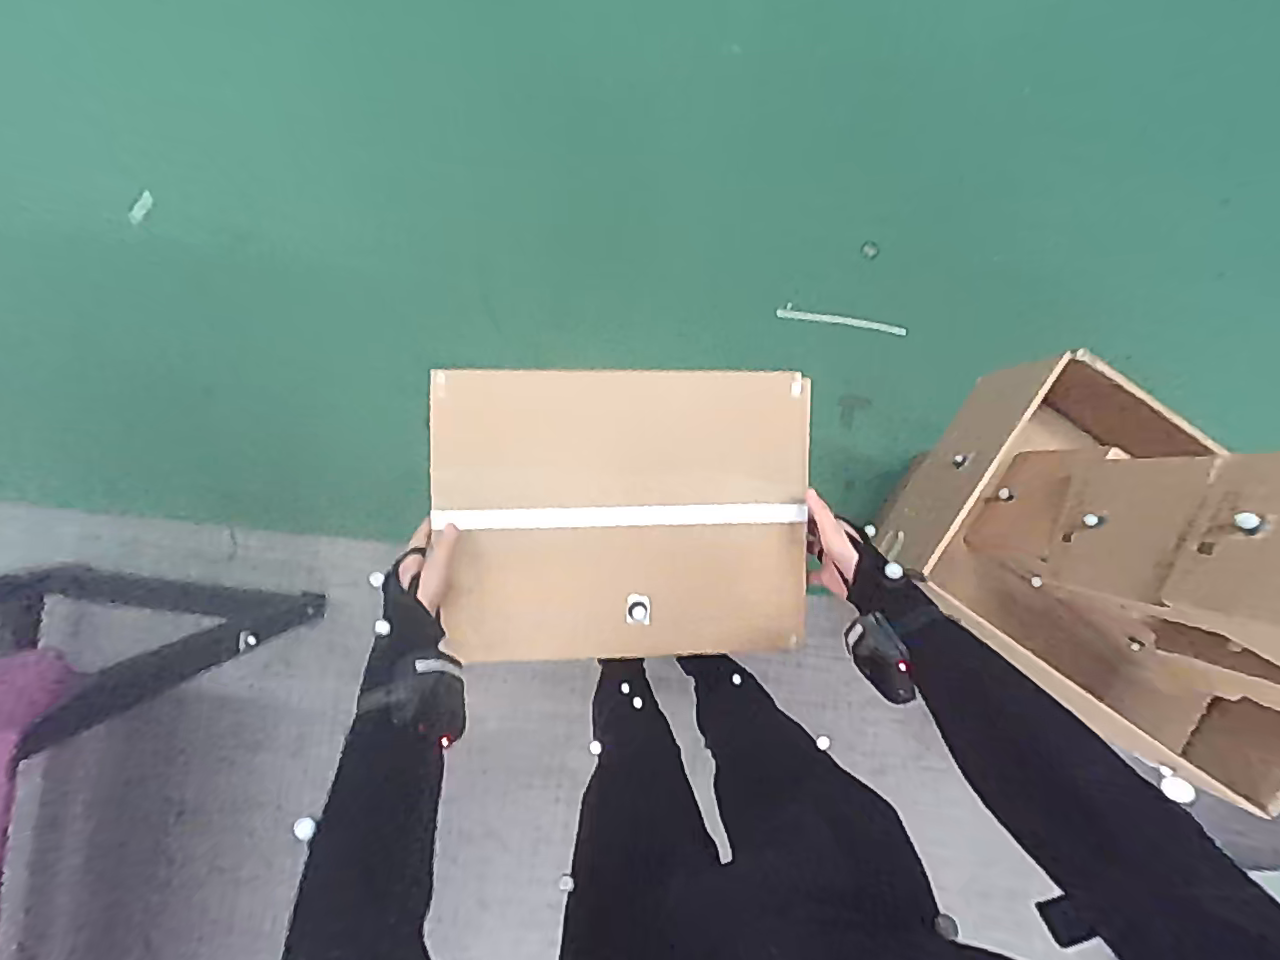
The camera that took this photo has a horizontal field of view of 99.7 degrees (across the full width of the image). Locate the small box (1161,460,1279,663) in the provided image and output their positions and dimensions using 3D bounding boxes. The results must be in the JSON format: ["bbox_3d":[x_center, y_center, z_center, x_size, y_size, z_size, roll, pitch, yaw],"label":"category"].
[{"bbox_3d":[0.630,0.084,0.463,0.179,0.176,0.168,27,88,-1],"label":"small box"}]
